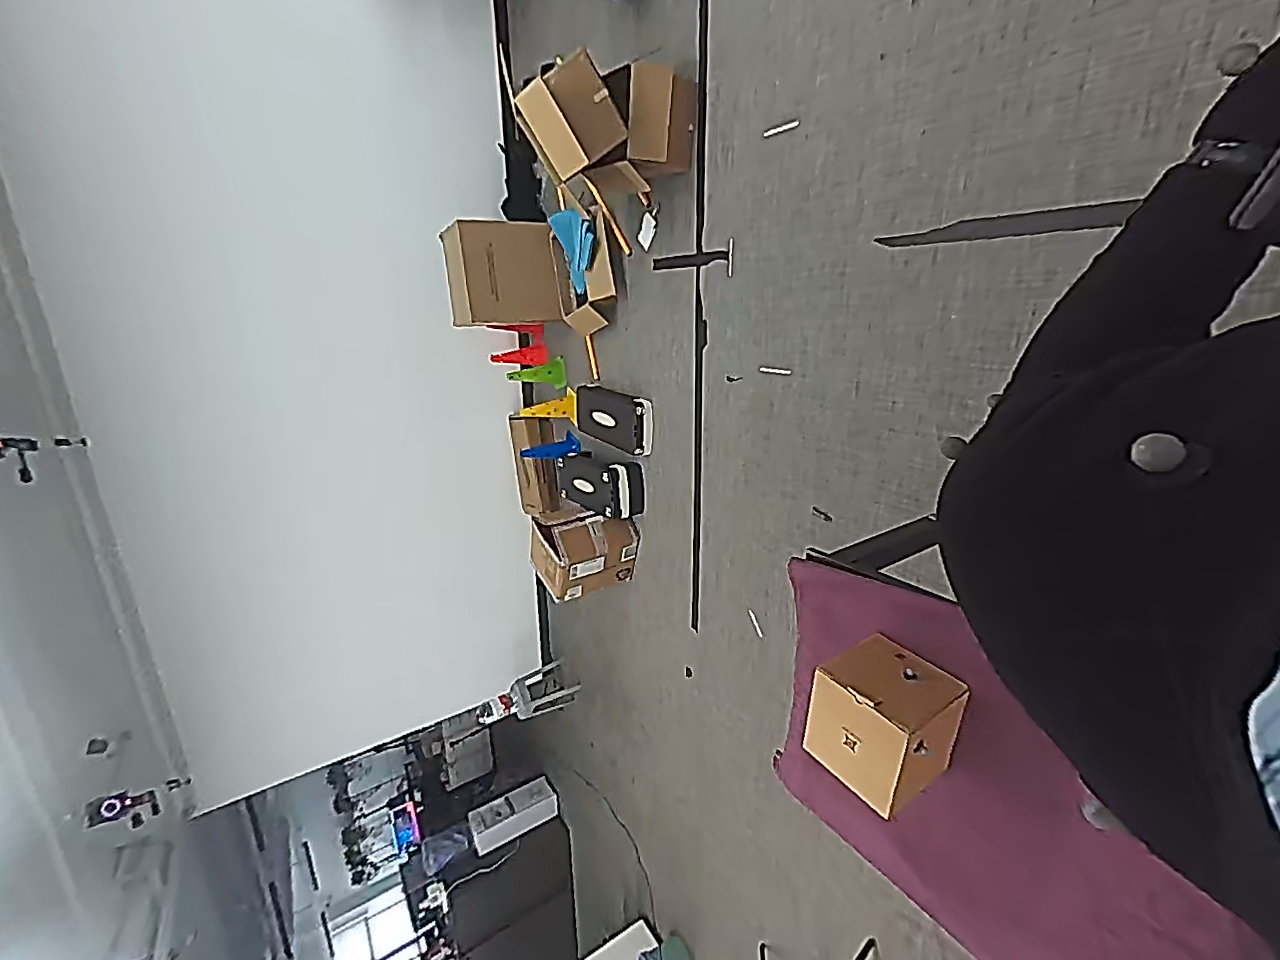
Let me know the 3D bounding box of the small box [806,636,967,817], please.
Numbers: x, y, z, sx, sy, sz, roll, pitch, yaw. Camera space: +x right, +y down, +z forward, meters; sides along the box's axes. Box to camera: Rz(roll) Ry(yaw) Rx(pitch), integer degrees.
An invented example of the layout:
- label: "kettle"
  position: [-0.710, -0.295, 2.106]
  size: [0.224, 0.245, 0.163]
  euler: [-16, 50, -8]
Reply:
- label: "small box"
  position: [0.400, 0.391, 0.885]
  size: [0.168, 0.176, 0.179]
  euler: [29, 125, 51]
